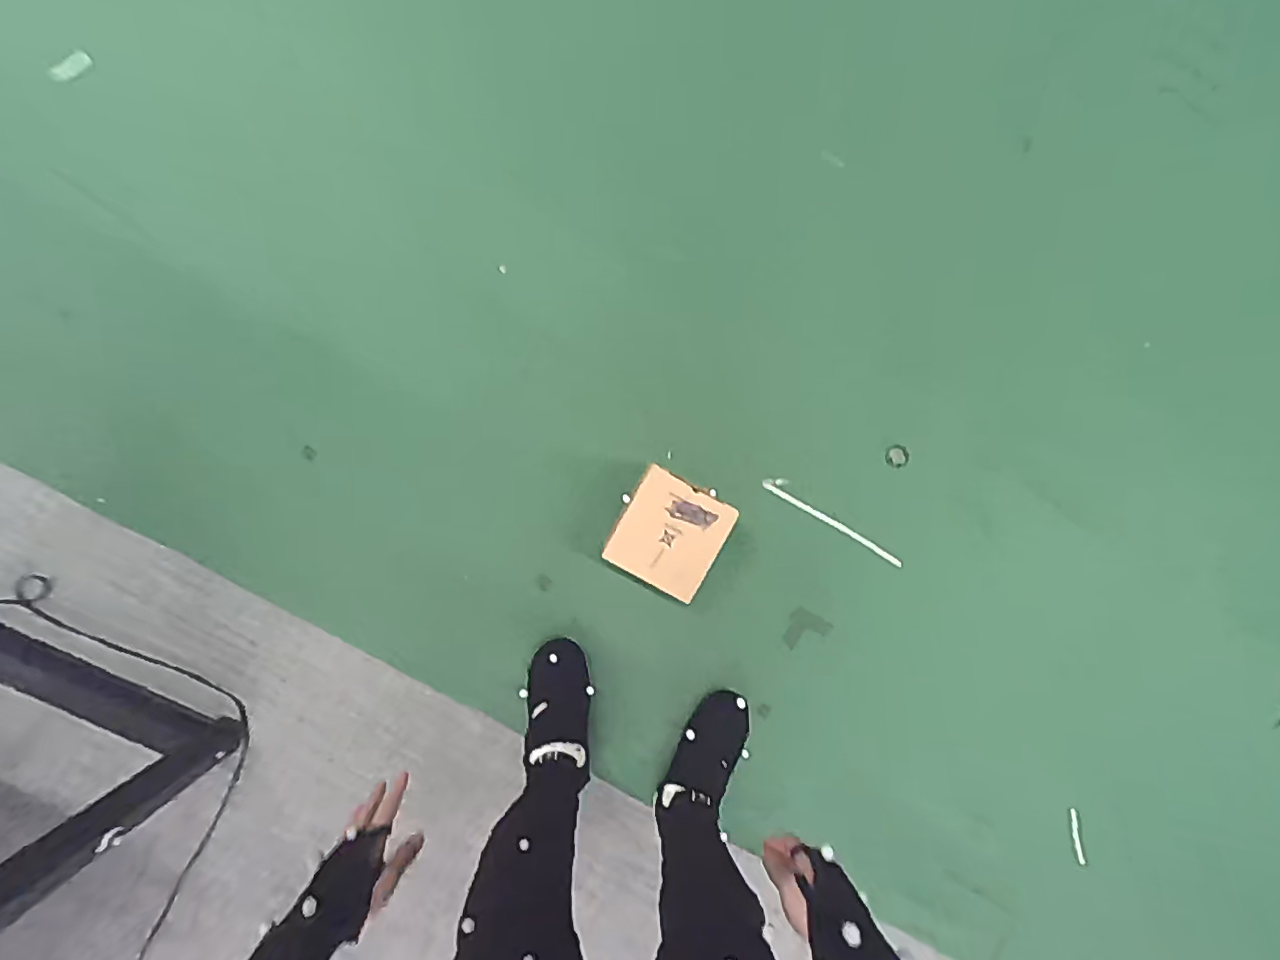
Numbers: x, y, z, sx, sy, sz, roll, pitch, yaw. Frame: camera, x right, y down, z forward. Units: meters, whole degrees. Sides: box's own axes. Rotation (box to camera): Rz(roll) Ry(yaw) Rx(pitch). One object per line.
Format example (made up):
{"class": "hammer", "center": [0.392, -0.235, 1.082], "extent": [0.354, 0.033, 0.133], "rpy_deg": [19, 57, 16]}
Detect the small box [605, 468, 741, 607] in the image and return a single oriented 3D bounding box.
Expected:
{"class": "small box", "center": [0.050, 0.091, 0.954], "extent": [0.168, 0.176, 0.179], "rpy_deg": [30, 91, -2]}
